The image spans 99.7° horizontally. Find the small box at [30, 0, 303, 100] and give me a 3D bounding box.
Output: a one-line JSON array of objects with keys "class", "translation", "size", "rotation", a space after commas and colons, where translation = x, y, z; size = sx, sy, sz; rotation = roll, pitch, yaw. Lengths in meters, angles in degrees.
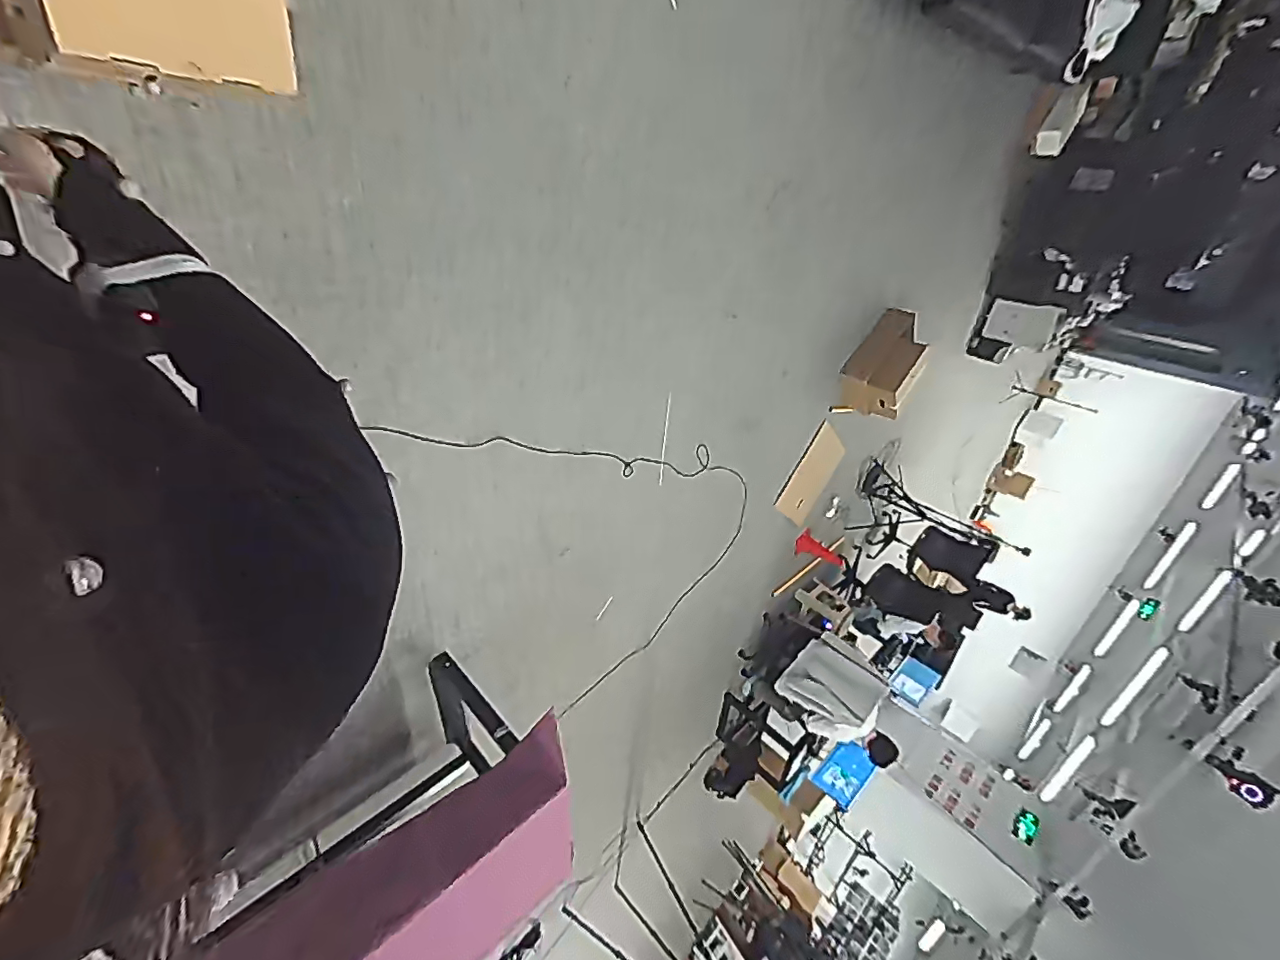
[{"class": "small box", "translation": [-0.427, -0.452, 0.471], "size": [0.168, 0.176, 0.179], "rotation": [-22, 129, -41]}]

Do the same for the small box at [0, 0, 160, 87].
[{"class": "small box", "translation": [-0.659, -0.590, 0.656], "size": [0.179, 0.176, 0.168], "rotation": [-22, 128, -39]}]
